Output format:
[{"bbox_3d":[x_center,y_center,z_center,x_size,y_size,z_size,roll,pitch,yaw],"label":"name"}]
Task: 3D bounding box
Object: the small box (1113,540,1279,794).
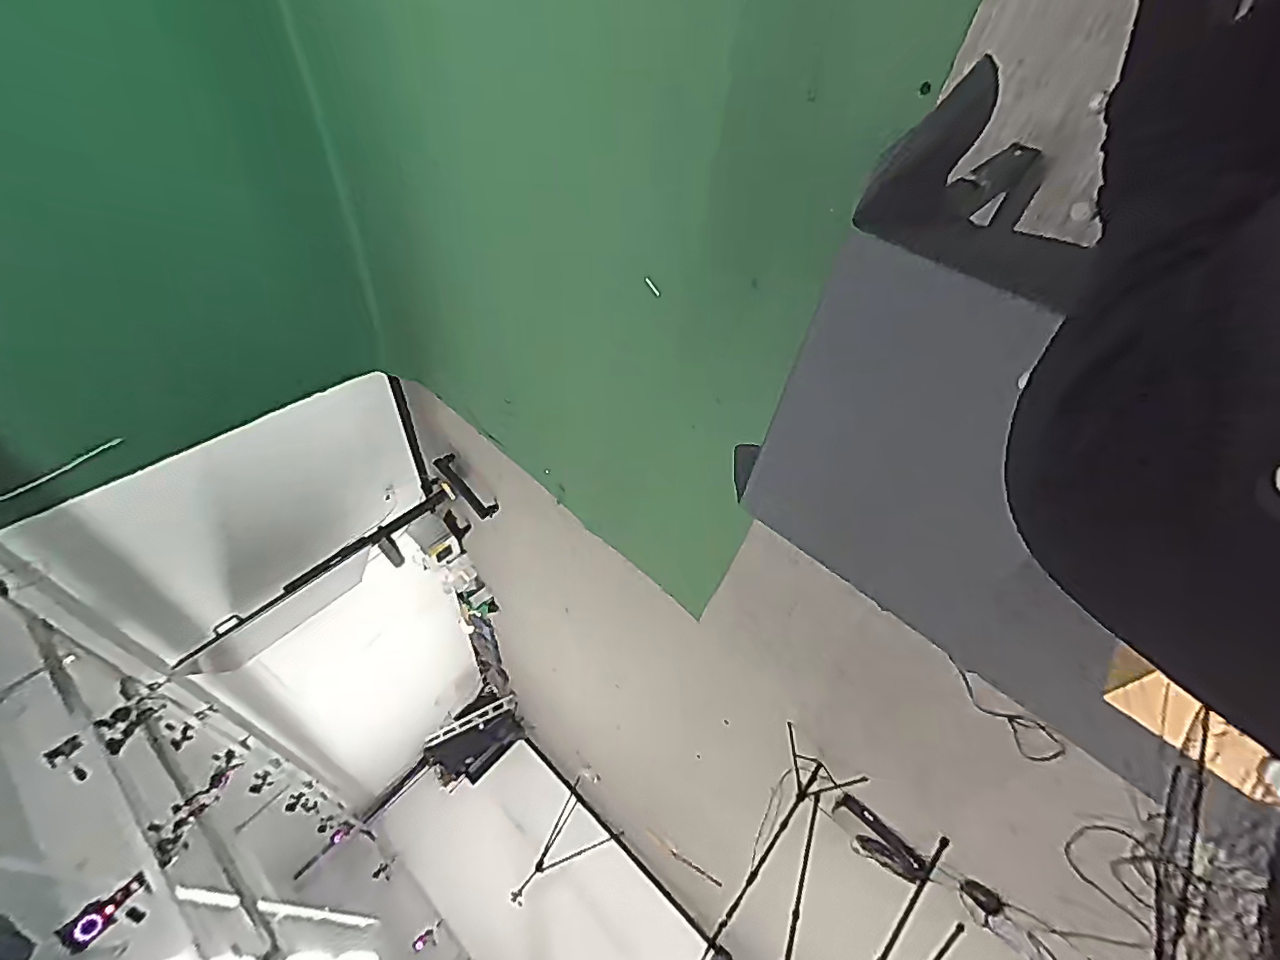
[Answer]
[{"bbox_3d":[0.683,0.198,0.595,0.168,0.176,0.179,37,145,23],"label":"small box"}]
